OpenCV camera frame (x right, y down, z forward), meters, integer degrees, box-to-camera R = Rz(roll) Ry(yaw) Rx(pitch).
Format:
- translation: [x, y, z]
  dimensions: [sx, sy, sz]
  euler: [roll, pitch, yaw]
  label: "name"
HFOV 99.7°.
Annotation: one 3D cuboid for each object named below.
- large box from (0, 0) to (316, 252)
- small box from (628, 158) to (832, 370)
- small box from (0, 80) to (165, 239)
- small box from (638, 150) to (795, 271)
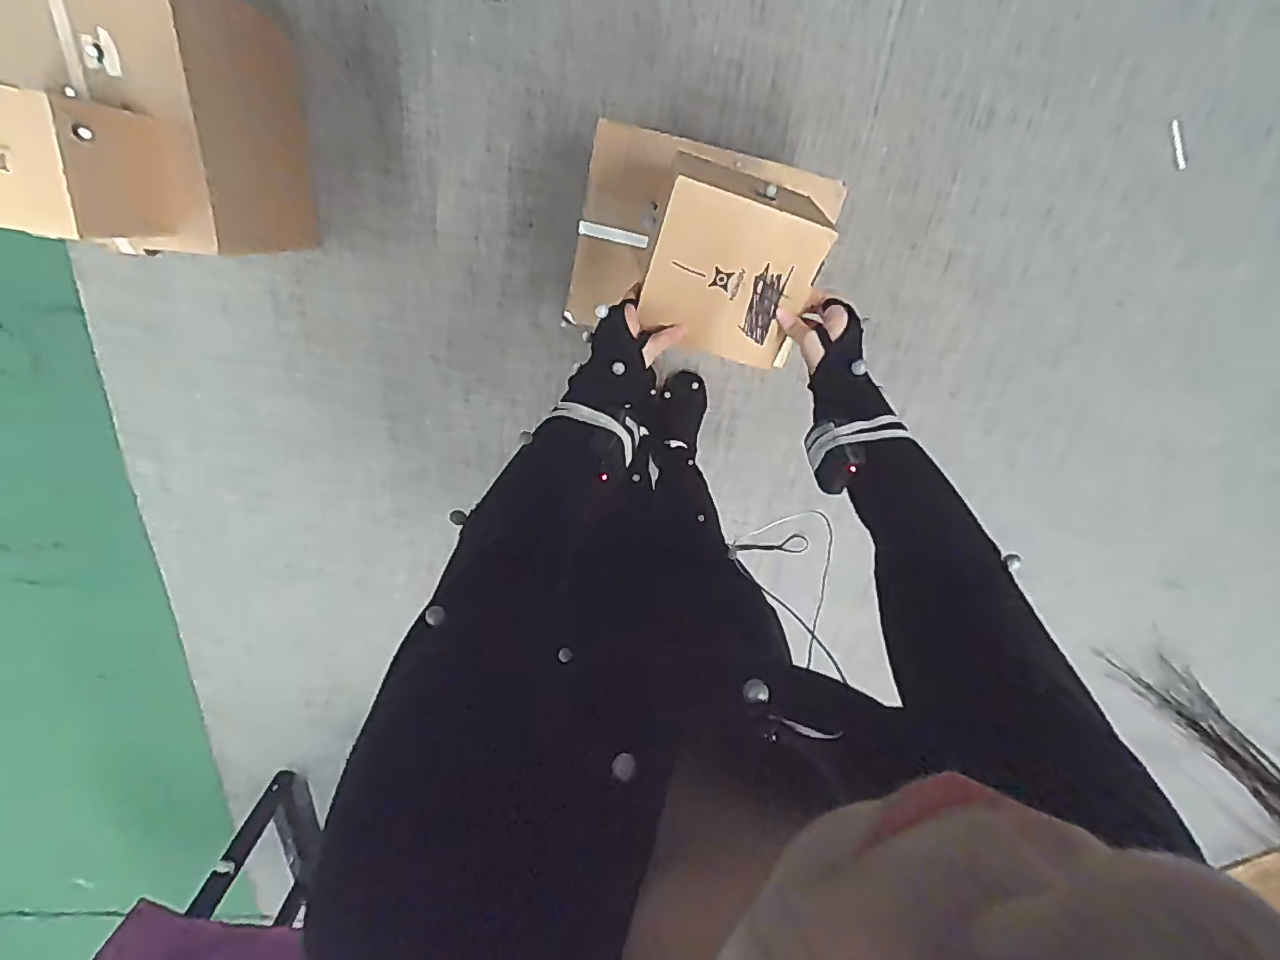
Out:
- translation: [-0.832, -0.634, 0.955]
  dimensions: [0.320, 0.320, 0.408]
  euler: [6, 114, -3]
  label: "large box"
- translation: [0.097, -0.262, 0.647]
  dimensions: [0.179, 0.176, 0.168]
  euler: [16, 128, -7]
  label: "small box"
- translation: [-0.829, -0.452, 0.768]
  dimensions: [0.168, 0.176, 0.179]
  euler: [9, 113, -5]
  label: "small box"
- translation: [0.101, -0.364, 0.809]
  dimensions: [0.179, 0.176, 0.168]
  euler: [15, 111, -7]
  label: "small box"
